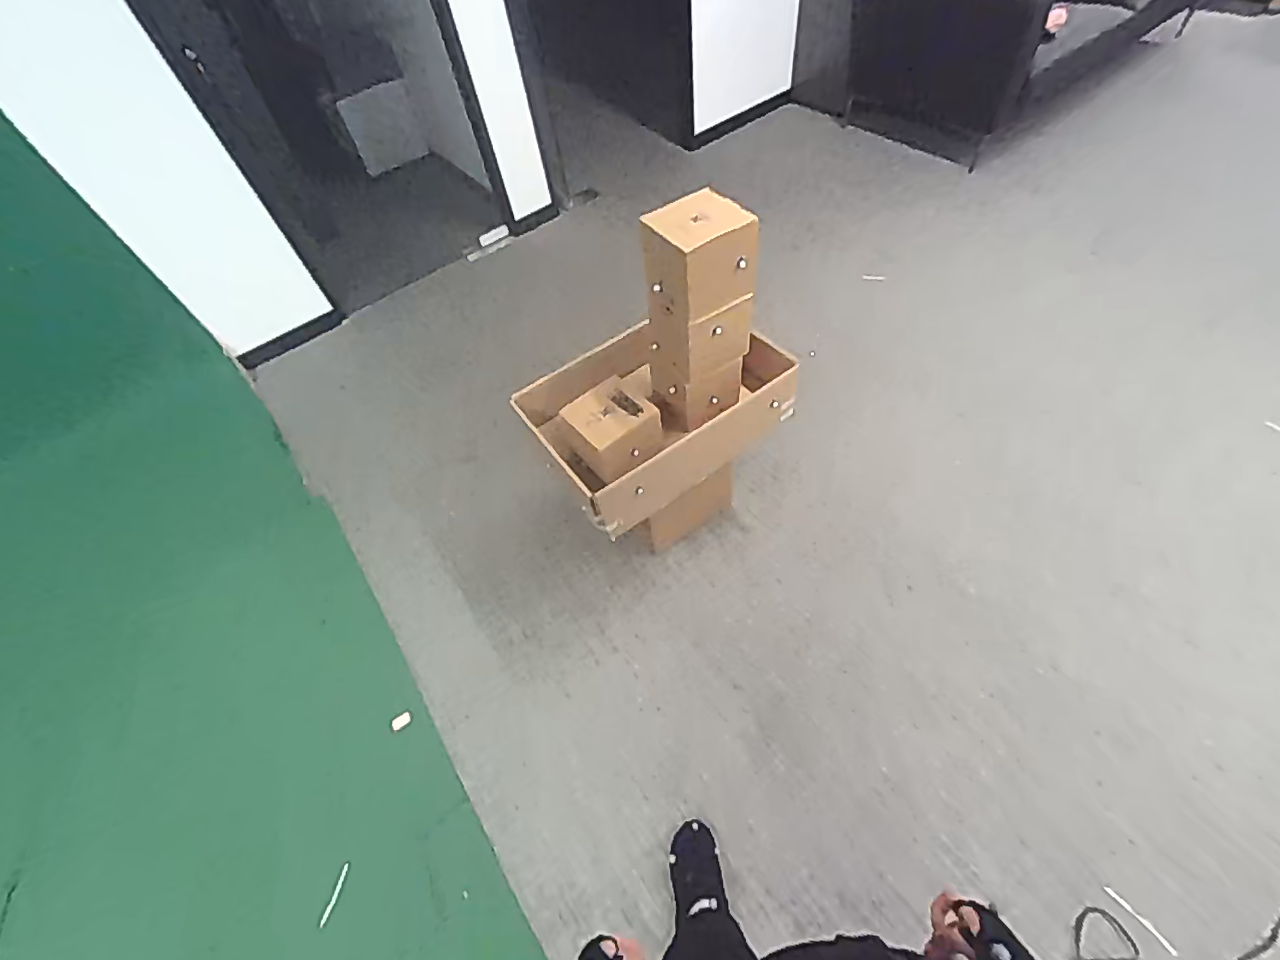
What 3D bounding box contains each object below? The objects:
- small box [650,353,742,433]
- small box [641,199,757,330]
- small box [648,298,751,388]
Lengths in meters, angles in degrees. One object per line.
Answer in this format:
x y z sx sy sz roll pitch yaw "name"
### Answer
0.145 -0.243 1.388 0.168 0.176 0.179 -29 55 -13 "small box"
0.122 -0.450 1.135 0.179 0.176 0.168 -30 55 -14 "small box"
0.140 -0.345 1.259 0.179 0.176 0.168 -30 56 -15 "small box"
